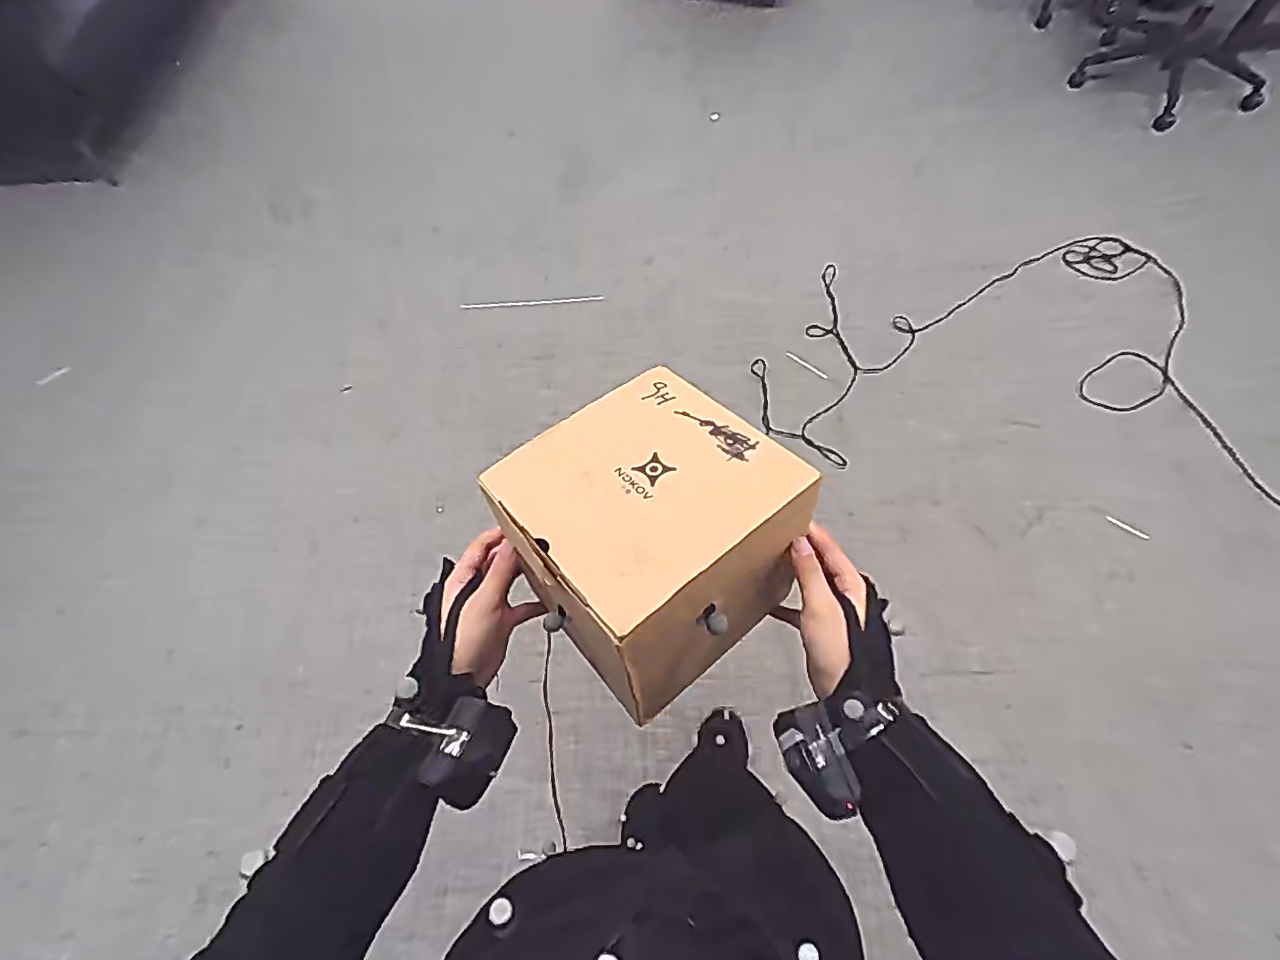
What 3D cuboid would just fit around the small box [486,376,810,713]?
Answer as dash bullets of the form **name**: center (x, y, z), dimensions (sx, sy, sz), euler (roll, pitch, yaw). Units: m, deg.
- **small box**: center (0.010, 0.054, 0.441), dimensions (0.179, 0.176, 0.168), euler (-35, 55, -21)
